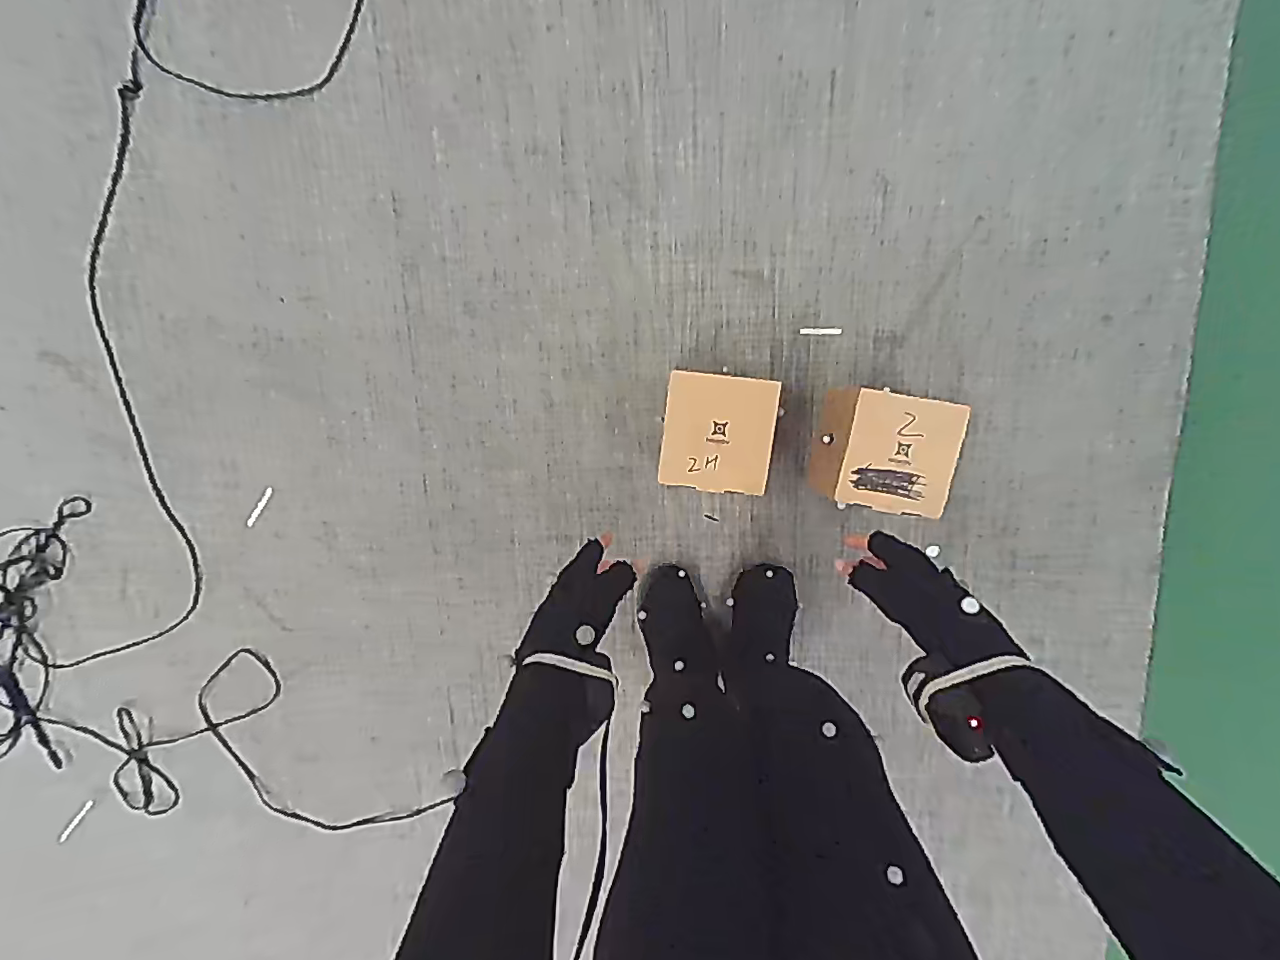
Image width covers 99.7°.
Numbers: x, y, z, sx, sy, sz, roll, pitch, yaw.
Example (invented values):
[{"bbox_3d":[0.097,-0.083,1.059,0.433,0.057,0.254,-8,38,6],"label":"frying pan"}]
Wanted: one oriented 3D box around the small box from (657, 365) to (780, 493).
[{"bbox_3d":[0.120,-0.089,0.888,0.168,0.176,0.179,7,101,3],"label":"small box"}]
